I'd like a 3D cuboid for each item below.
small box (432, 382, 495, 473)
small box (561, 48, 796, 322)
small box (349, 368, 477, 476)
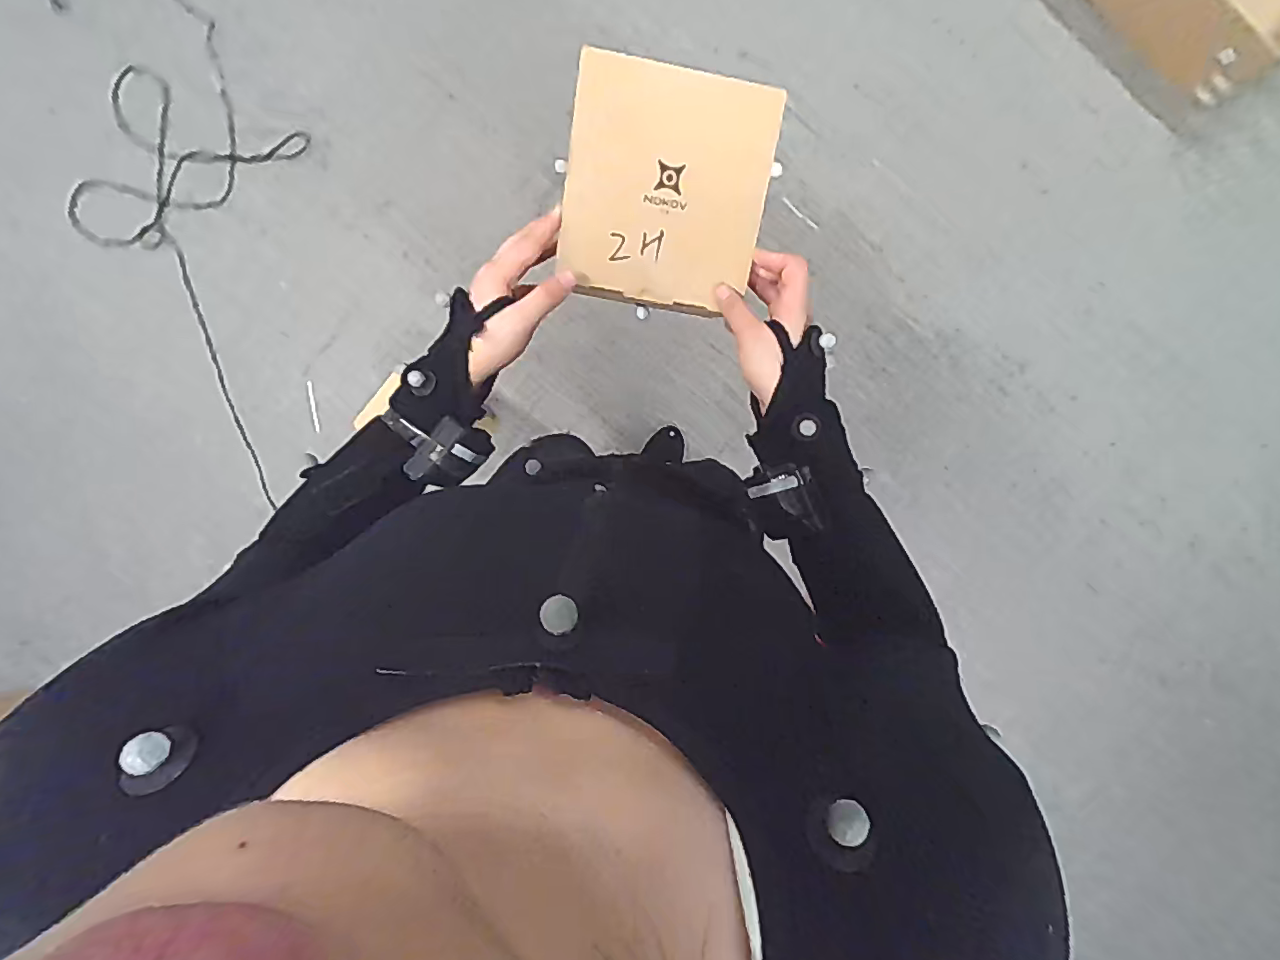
[{"bbox_3d":[-0.505,-0.142,1.393,0.179,0.176,0.168,41,96,-2],"label":"small box"},{"bbox_3d":[0.025,-0.256,0.517,0.168,0.176,0.179,10,106,-5],"label":"small box"},{"bbox_3d":[-0.503,-0.133,1.229,0.179,0.176,0.168,42,96,-2],"label":"small box"}]
